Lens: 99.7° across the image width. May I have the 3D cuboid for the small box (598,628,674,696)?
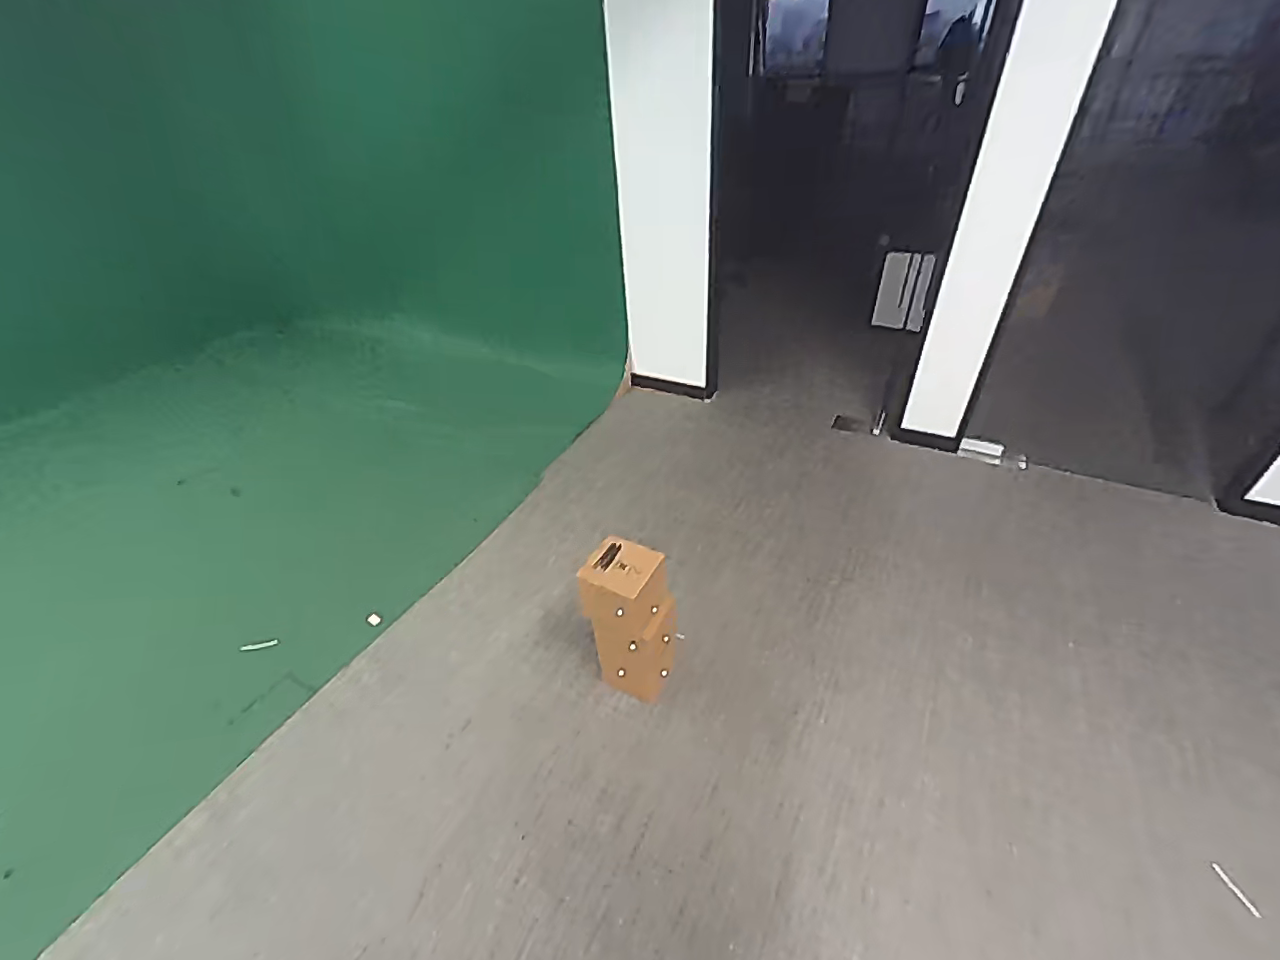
[{"bbox_3d":[-0.006,0.524,1.635,0.179,0.176,0.168,15,44,23],"label":"small box"}]

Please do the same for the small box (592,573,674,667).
[{"bbox_3d":[-0.013,0.400,1.527,0.179,0.176,0.168,16,44,23],"label":"small box"}]
